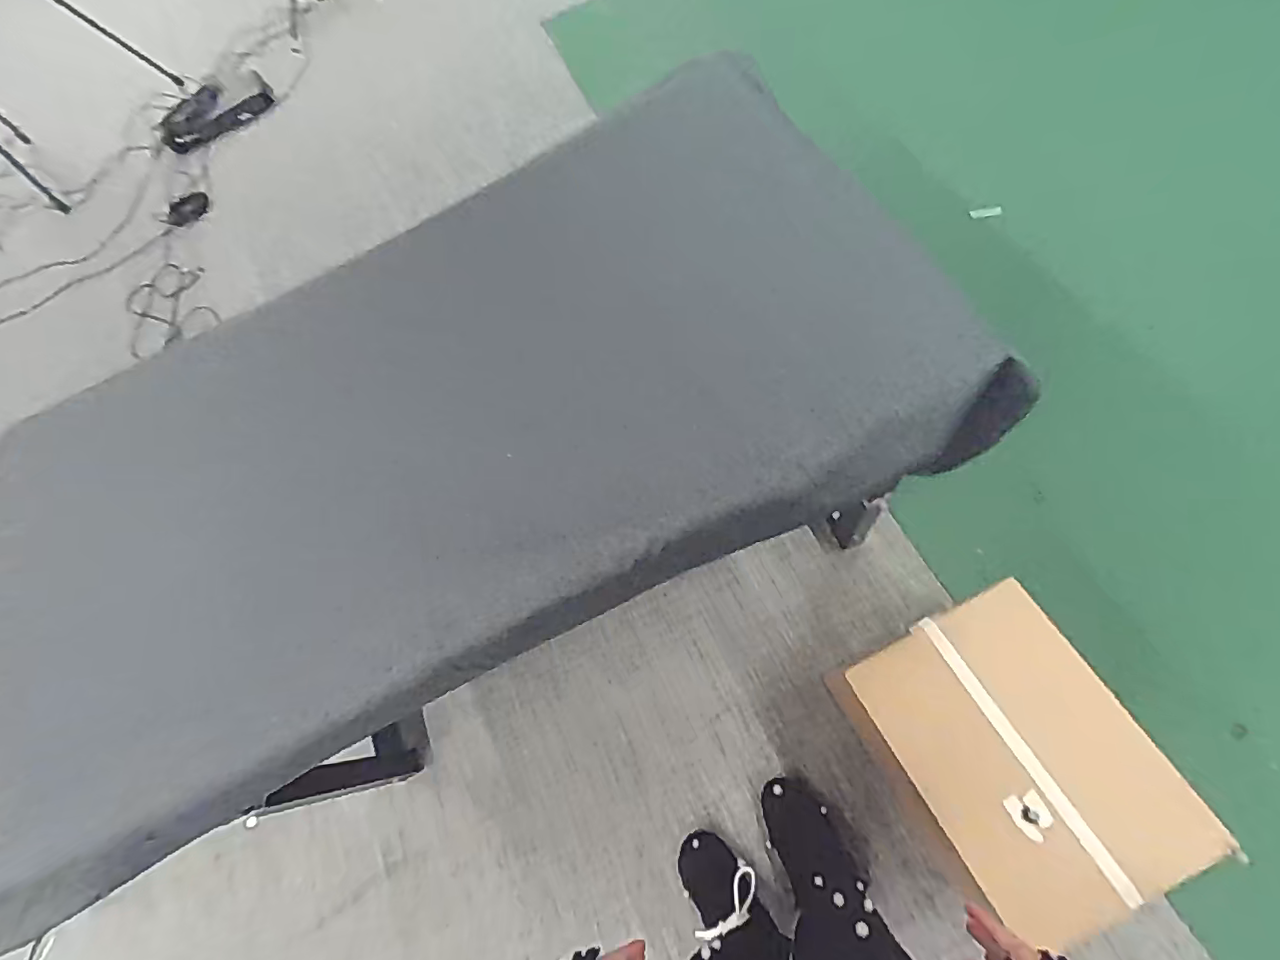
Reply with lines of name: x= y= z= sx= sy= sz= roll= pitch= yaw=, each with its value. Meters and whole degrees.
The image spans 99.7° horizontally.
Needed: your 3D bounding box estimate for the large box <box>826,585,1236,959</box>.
large box: x=0.574 y=0.446 z=0.909 sx=0.320 sy=0.320 sz=0.408 roll=-30 pitch=65 yaw=0
